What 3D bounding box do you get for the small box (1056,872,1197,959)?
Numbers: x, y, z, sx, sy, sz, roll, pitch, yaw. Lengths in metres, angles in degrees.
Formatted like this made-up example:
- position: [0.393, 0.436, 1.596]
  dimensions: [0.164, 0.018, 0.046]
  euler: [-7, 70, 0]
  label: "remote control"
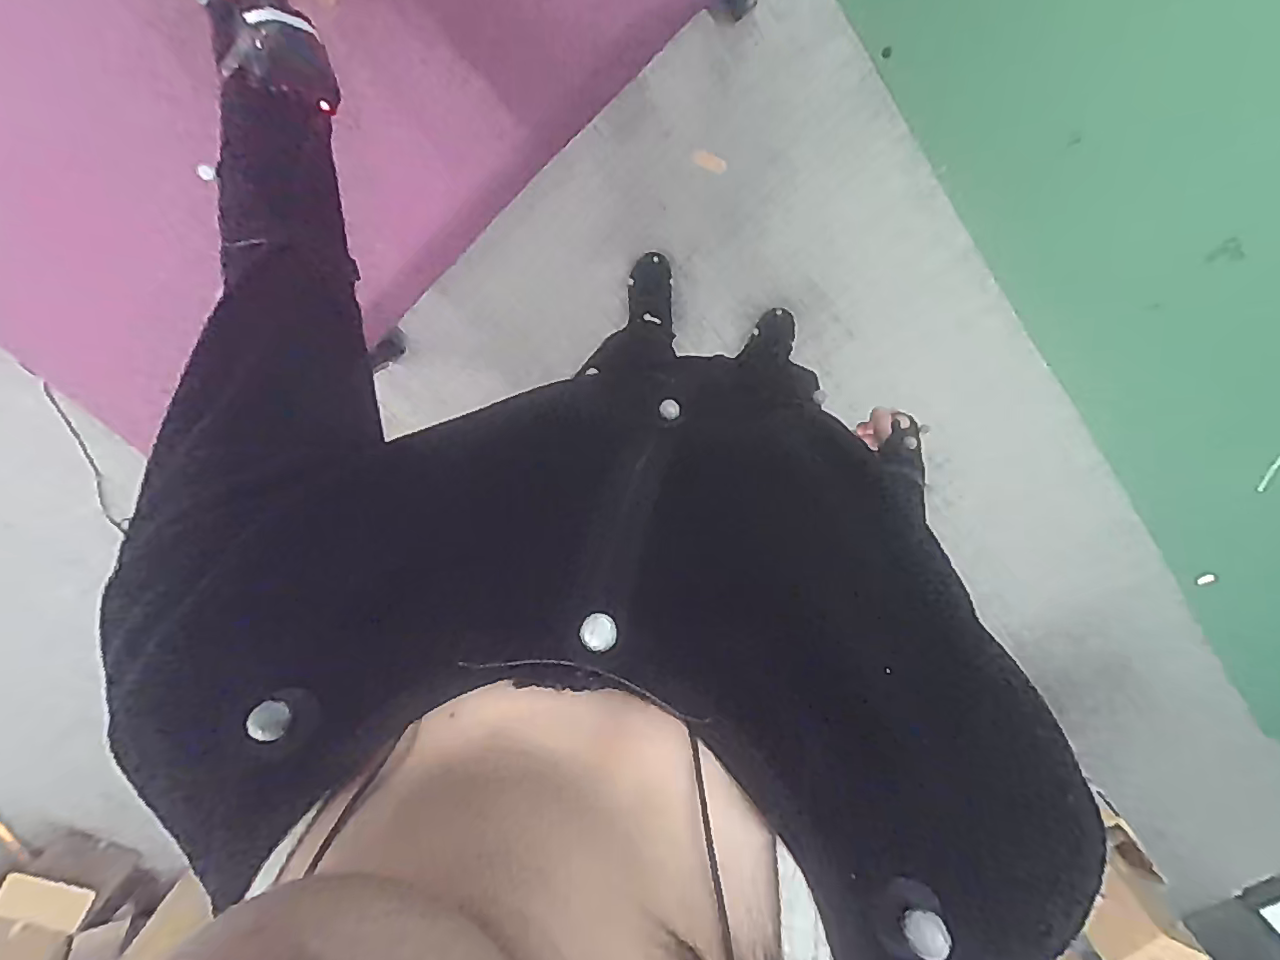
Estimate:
- position: [1.234, 1.148, 1.379]
  dimensions: [0.179, 0.176, 0.168]
  euler: [31, 109, -12]
  label: "small box"
